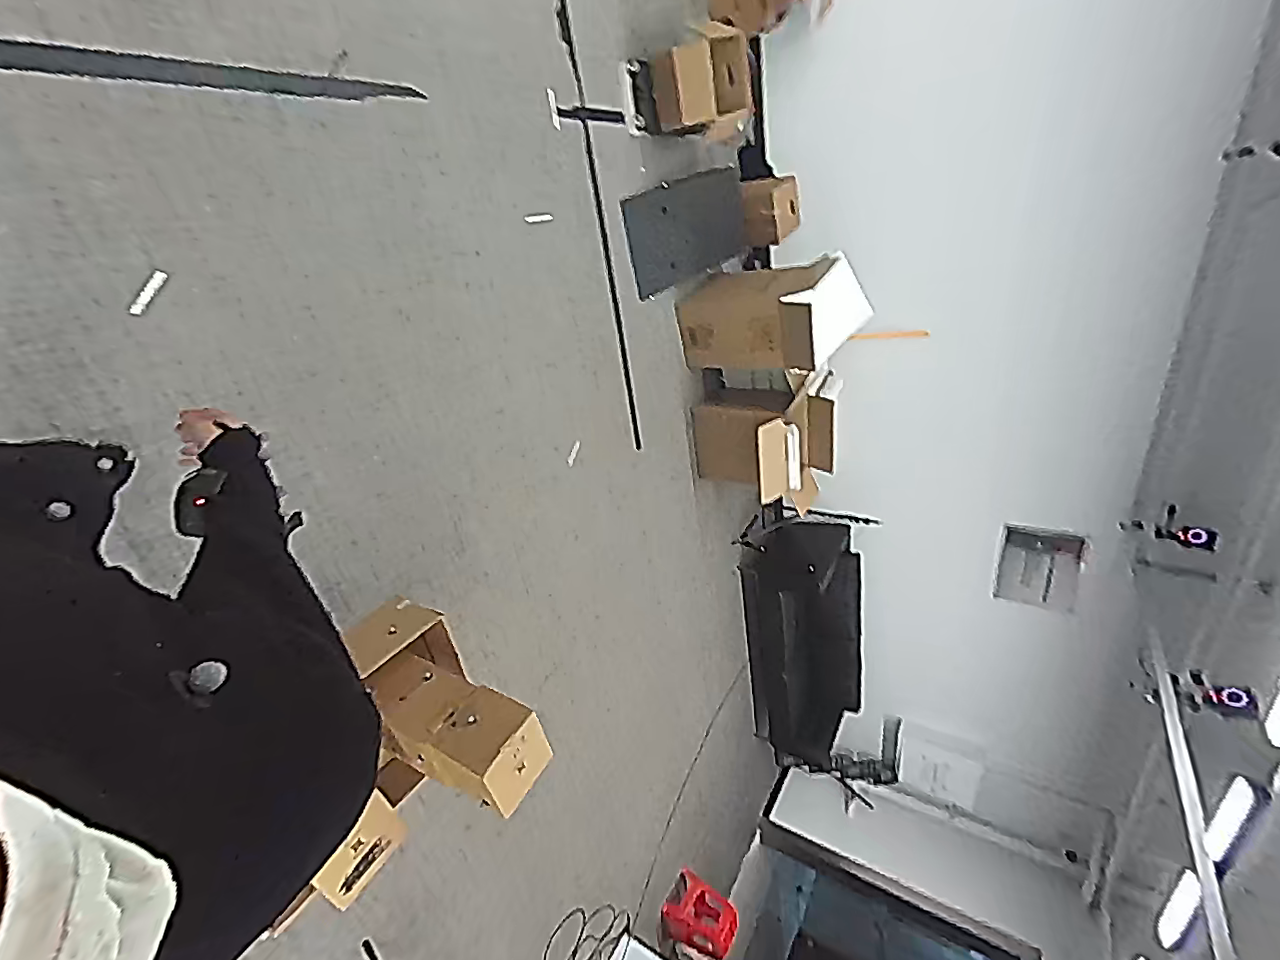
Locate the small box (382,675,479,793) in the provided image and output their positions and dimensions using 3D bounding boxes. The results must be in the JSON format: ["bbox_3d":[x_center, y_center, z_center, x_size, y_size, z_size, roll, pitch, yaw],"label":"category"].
[{"bbox_3d":[-0.472,0.587,1.278,0.168,0.176,0.179,-44,134,-44],"label":"small box"}]

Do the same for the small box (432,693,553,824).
[{"bbox_3d":[-0.325,0.609,1.204,0.168,0.176,0.179,-46,135,-43],"label":"small box"}]
